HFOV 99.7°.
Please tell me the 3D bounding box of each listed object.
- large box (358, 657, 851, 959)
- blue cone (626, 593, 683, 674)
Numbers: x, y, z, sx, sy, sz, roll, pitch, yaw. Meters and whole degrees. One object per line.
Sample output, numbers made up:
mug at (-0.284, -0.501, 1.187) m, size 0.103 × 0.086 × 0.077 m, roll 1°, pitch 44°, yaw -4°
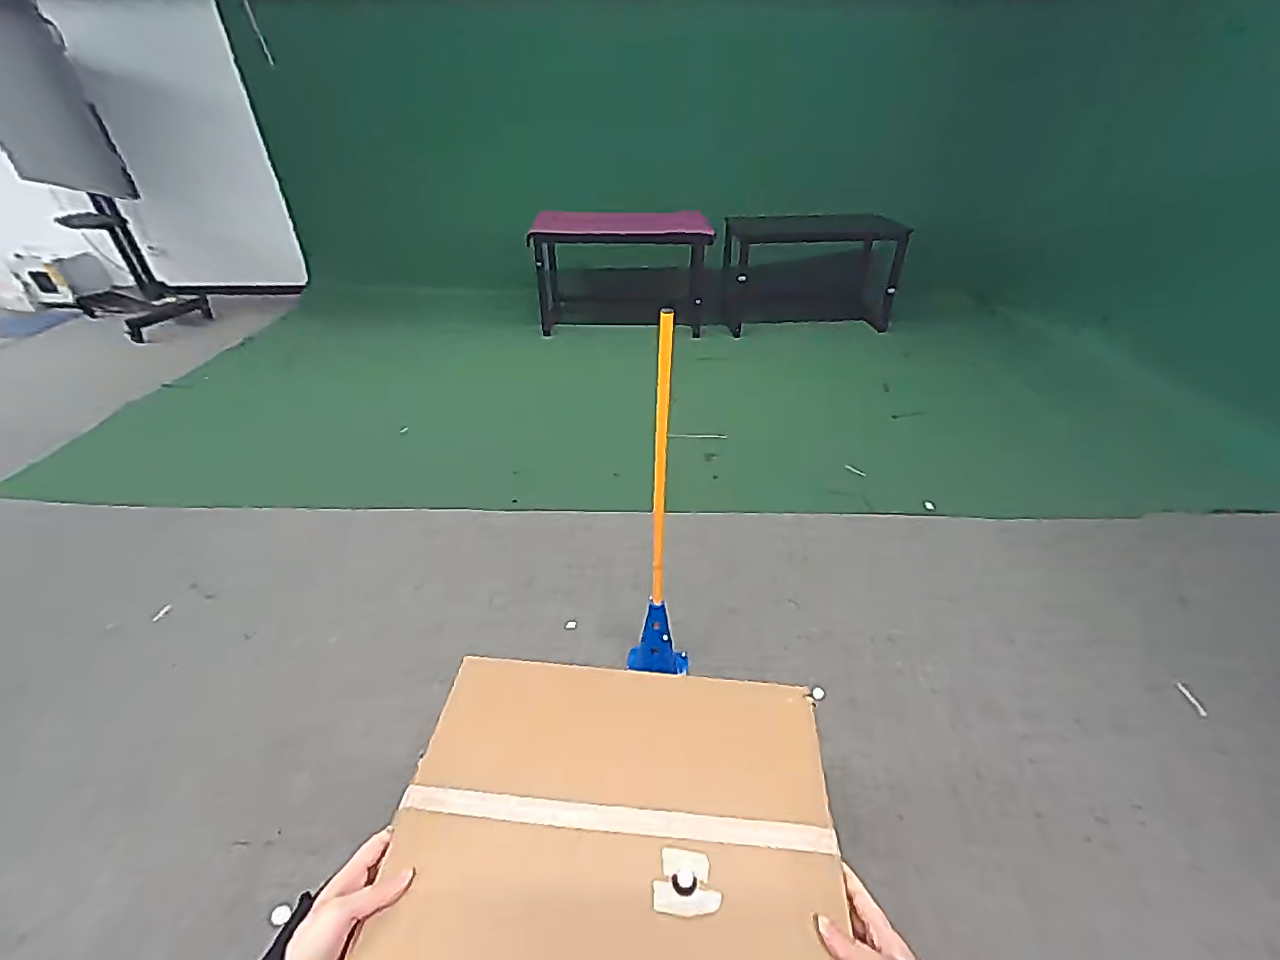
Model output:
large box at (-0.024, 0.435, 0.611) m, size 0.408 × 0.320 × 0.320 m, roll 5°, pitch 39°, yaw 3°
blue cone at (0.042, 0.498, 1.657) m, size 0.193 × 0.380 × 0.192 m, roll 6°, pitch 35°, yaw 8°
